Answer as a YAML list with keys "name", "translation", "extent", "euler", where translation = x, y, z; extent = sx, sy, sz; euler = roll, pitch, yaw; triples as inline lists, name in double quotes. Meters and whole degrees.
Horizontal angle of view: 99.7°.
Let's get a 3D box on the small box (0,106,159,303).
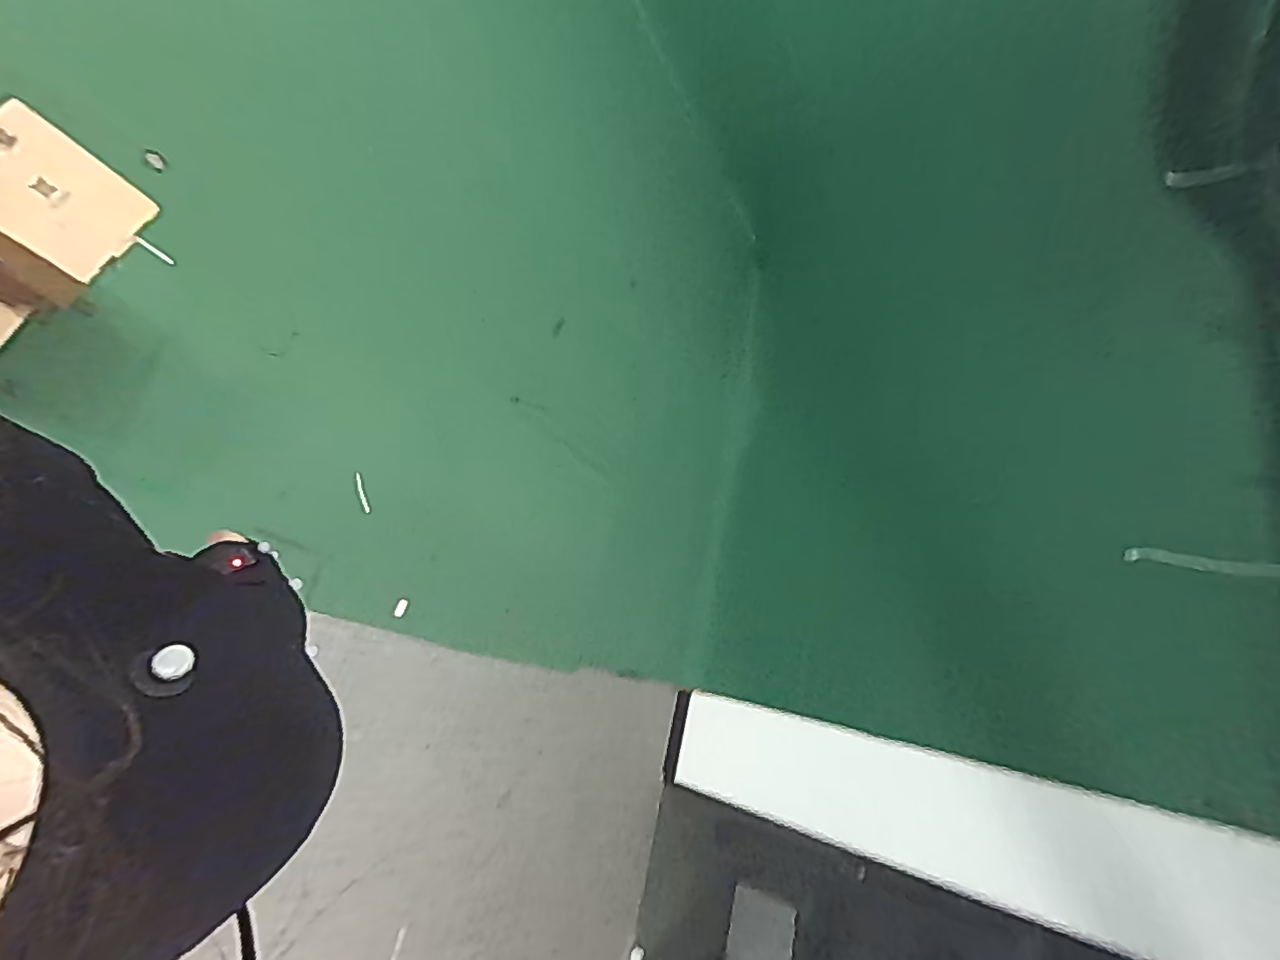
- name: "small box"
  translation: [-0.860, -0.375, 0.772]
  extent: [0.179, 0.176, 0.168]
  euler: [46, 53, -44]
